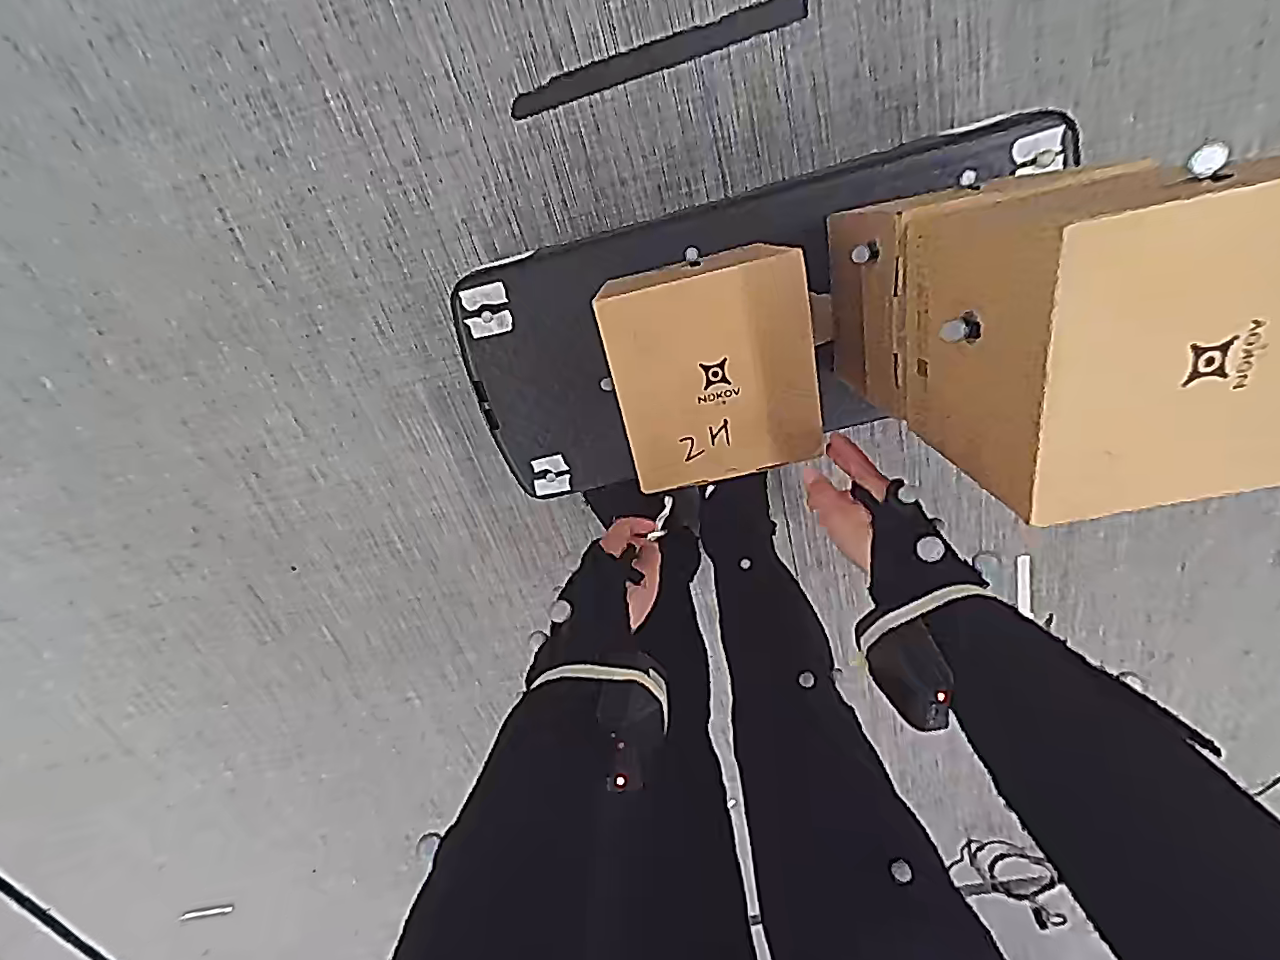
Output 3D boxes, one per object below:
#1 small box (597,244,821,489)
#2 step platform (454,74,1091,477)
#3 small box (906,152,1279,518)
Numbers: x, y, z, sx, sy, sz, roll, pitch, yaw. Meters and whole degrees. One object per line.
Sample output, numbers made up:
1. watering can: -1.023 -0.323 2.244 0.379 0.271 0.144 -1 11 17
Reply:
1. small box: 0.061 -0.117 0.518 0.168 0.176 0.179 -12 115 6
2. step platform: 0.138 -0.224 0.659 0.684 0.204 0.286 -13 114 7
3. small box: 0.290 -0.098 0.347 0.179 0.176 0.168 -11 115 4
